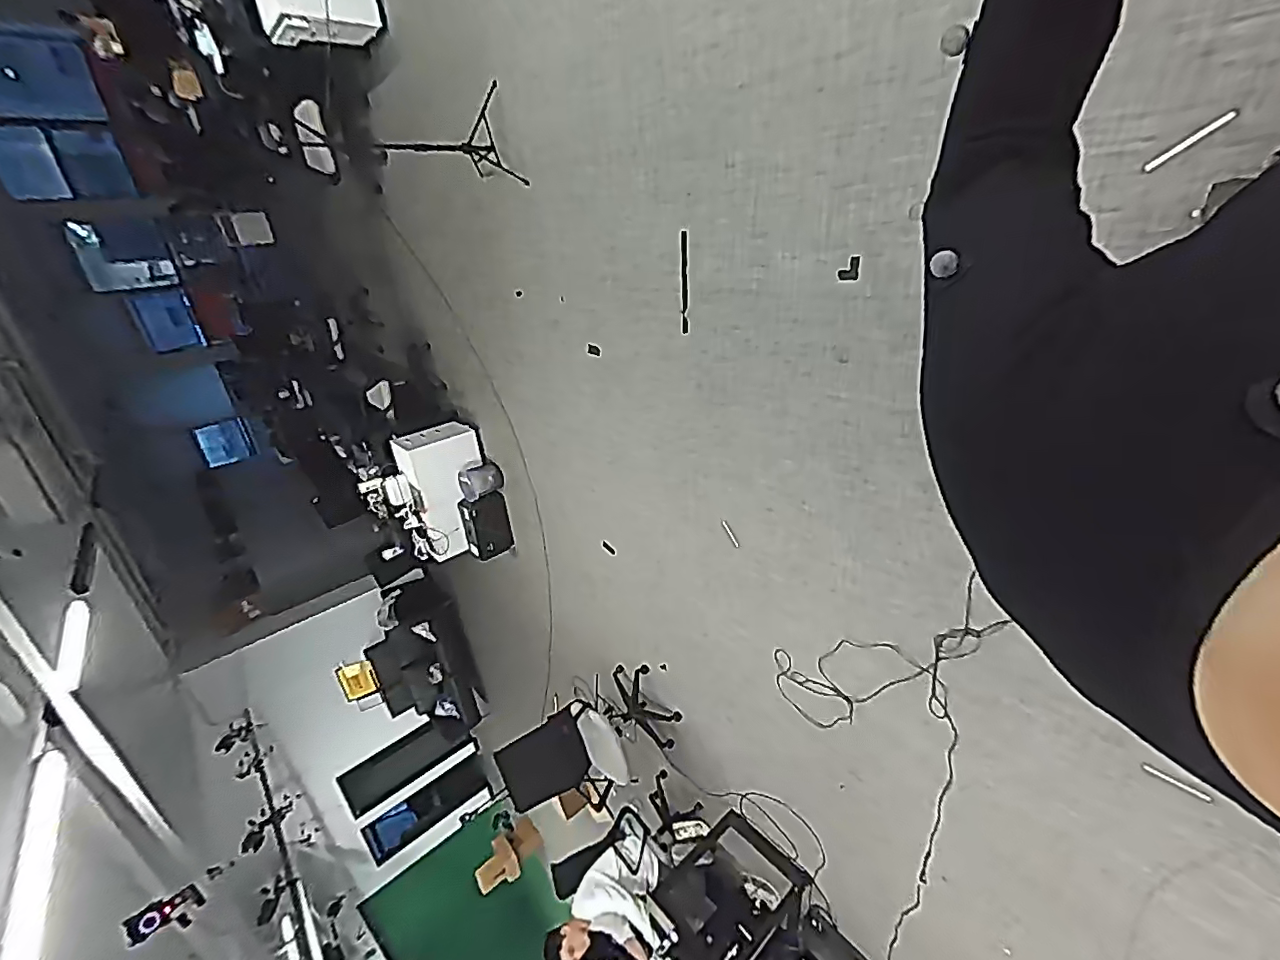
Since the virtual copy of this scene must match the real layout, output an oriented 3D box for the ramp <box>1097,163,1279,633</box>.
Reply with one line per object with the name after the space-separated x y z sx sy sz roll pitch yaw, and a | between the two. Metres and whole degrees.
1.305 -0.082 1.054 0.509 0.206 0.991 20 126 45 | ramp
